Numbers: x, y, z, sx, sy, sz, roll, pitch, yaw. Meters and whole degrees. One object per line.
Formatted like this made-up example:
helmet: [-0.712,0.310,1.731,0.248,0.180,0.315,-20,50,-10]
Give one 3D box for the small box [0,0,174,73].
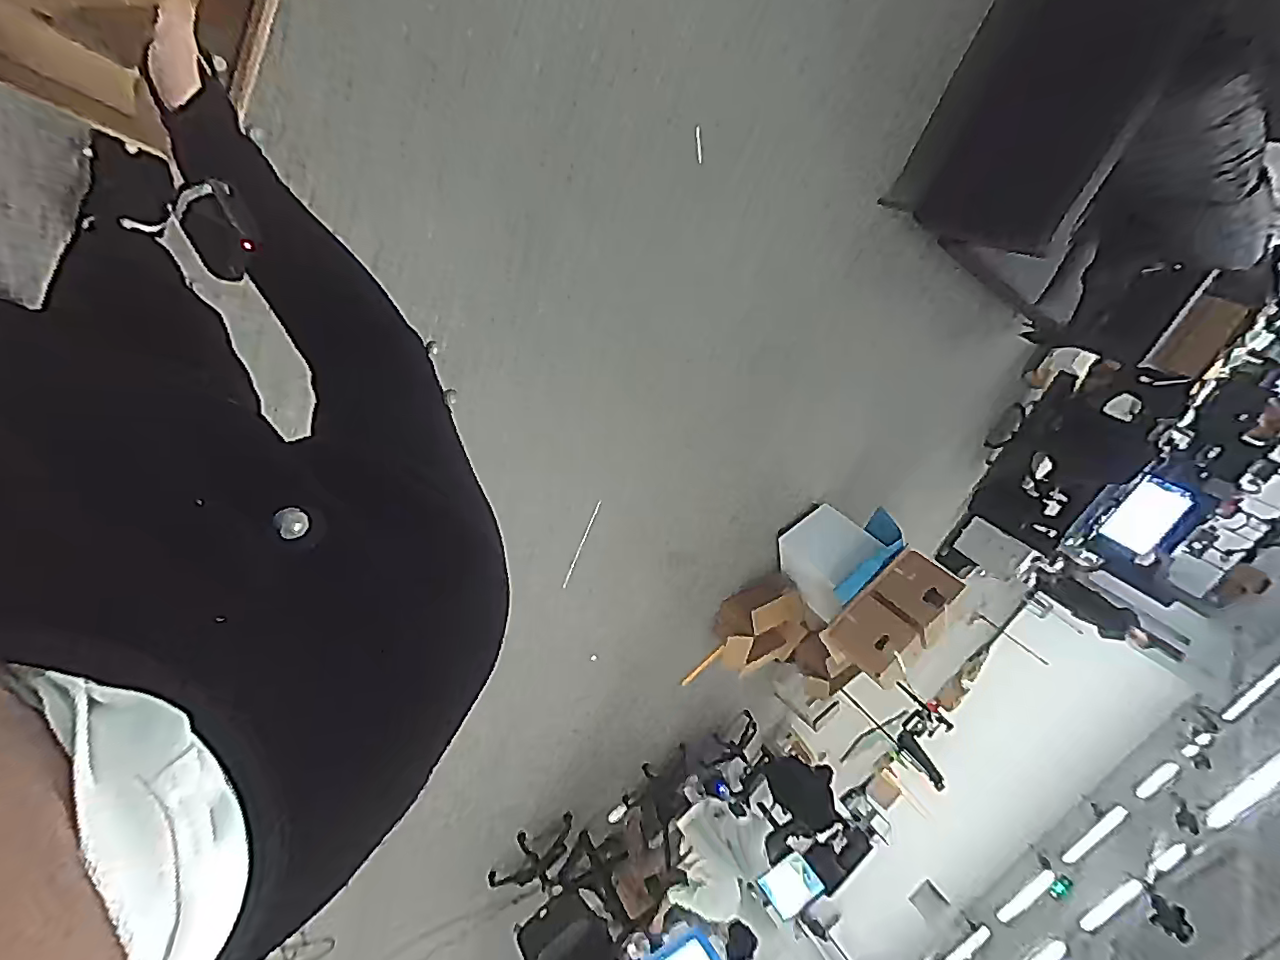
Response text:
small box: [-0.459,-0.466,0.407,0.168,0.176,0.179,11,91,-50]
